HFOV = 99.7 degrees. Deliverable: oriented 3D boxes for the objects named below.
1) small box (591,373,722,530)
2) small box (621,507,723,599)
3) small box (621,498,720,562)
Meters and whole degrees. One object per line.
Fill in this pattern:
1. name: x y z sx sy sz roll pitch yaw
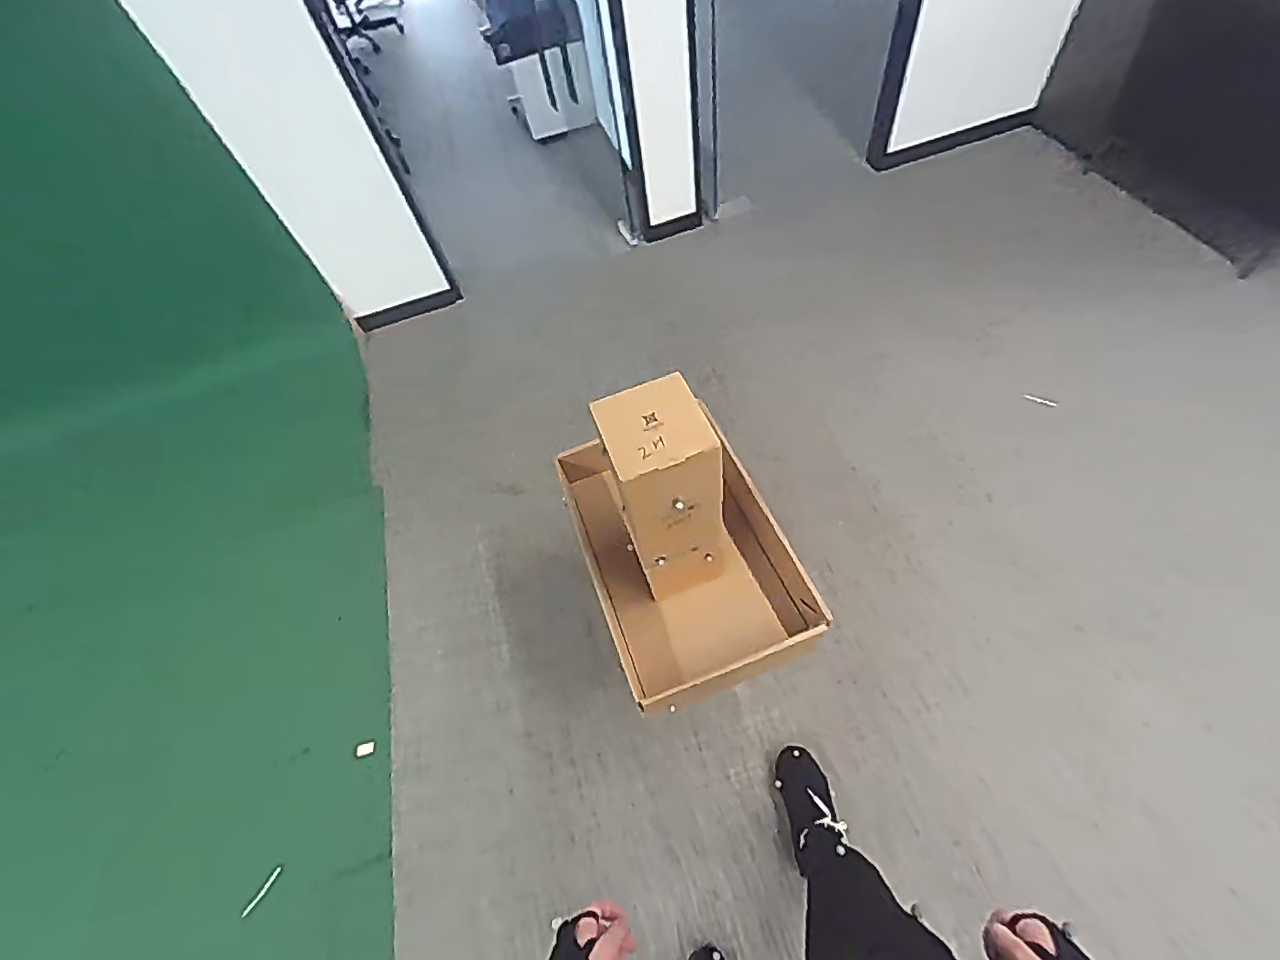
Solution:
1. small box: 0.030 -0.045 0.920 0.168 0.176 0.179 -20 56 -4
2. small box: 0.075 0.138 1.190 0.179 0.176 0.168 -20 55 -5
3. small box: 0.053 0.043 1.058 0.168 0.176 0.179 -18 55 -3
